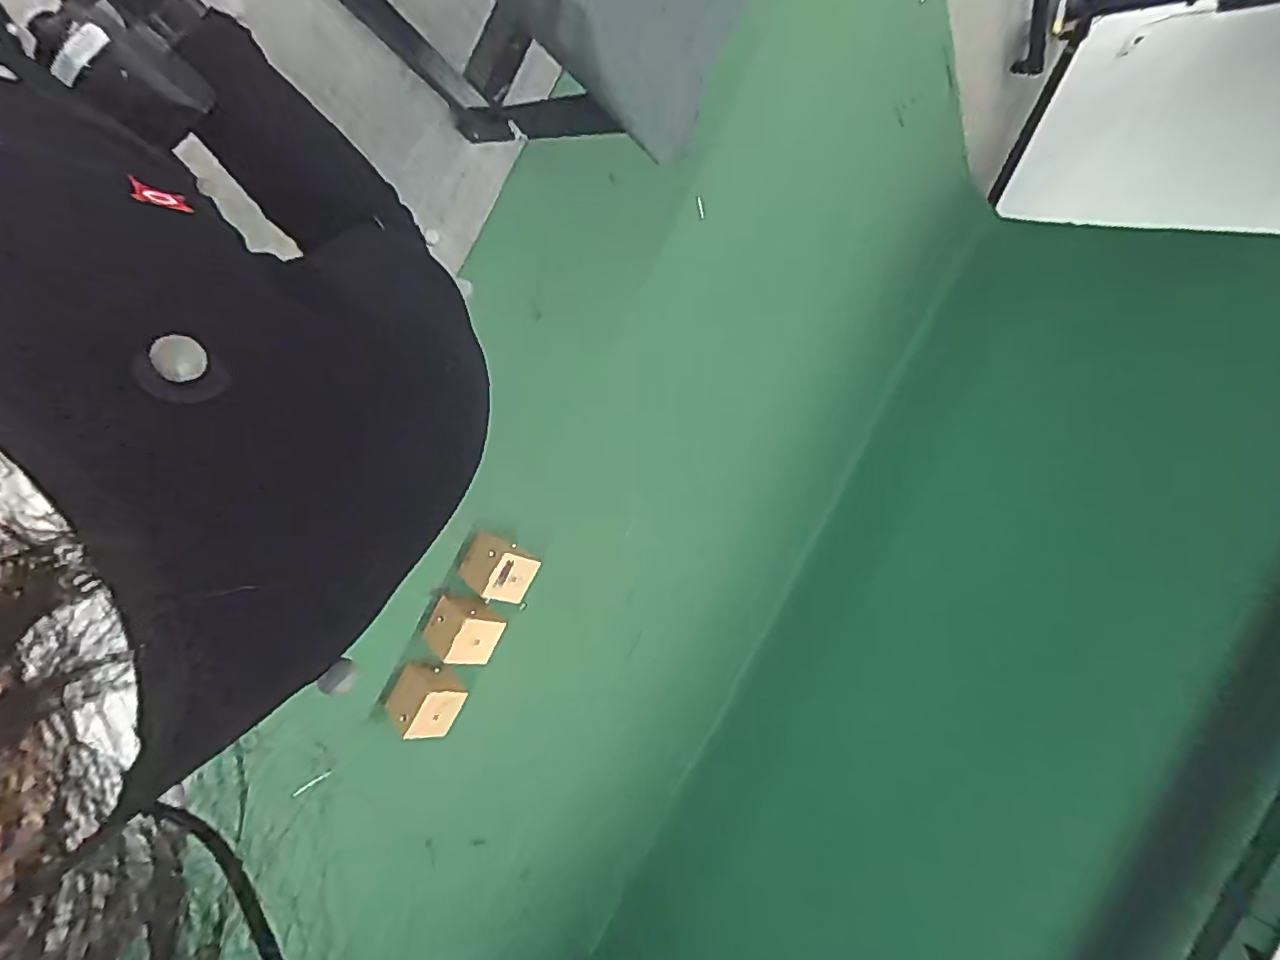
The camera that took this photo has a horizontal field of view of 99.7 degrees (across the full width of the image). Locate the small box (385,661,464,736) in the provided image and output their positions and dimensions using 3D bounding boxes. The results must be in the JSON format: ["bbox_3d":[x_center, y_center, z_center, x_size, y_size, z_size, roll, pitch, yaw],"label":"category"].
[{"bbox_3d":[-0.750,0.751,1.862,0.168,0.176,0.179,30,89,-51],"label":"small box"}]

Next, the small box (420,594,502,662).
[{"bbox_3d":[-0.619,0.509,1.865,0.179,0.176,0.168,26,92,-50],"label":"small box"}]
